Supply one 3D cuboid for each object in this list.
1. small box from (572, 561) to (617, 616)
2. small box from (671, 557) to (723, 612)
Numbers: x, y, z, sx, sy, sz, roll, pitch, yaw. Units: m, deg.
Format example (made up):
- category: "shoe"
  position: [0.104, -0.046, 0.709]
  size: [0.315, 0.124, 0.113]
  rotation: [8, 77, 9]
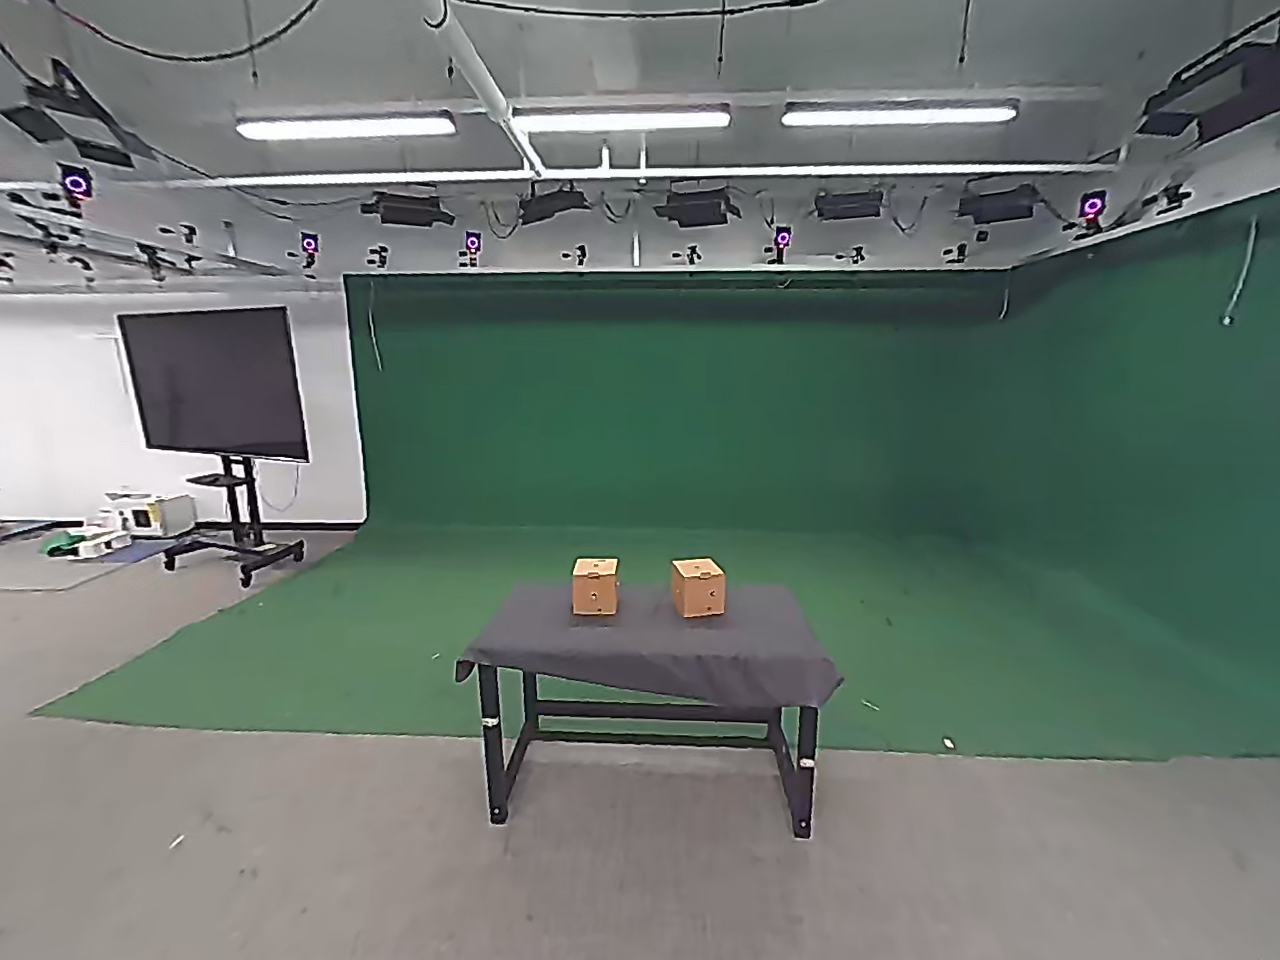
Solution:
- category: "small box"
  position: [-0.180, 0.434, 2.160]
  size: [0.168, 0.176, 0.179]
  rotation: [-2, 12, -2]
- category: "small box"
  position: [0.224, 0.416, 2.146]
  size: [0.168, 0.176, 0.179]
  rotation: [0, 12, -11]
